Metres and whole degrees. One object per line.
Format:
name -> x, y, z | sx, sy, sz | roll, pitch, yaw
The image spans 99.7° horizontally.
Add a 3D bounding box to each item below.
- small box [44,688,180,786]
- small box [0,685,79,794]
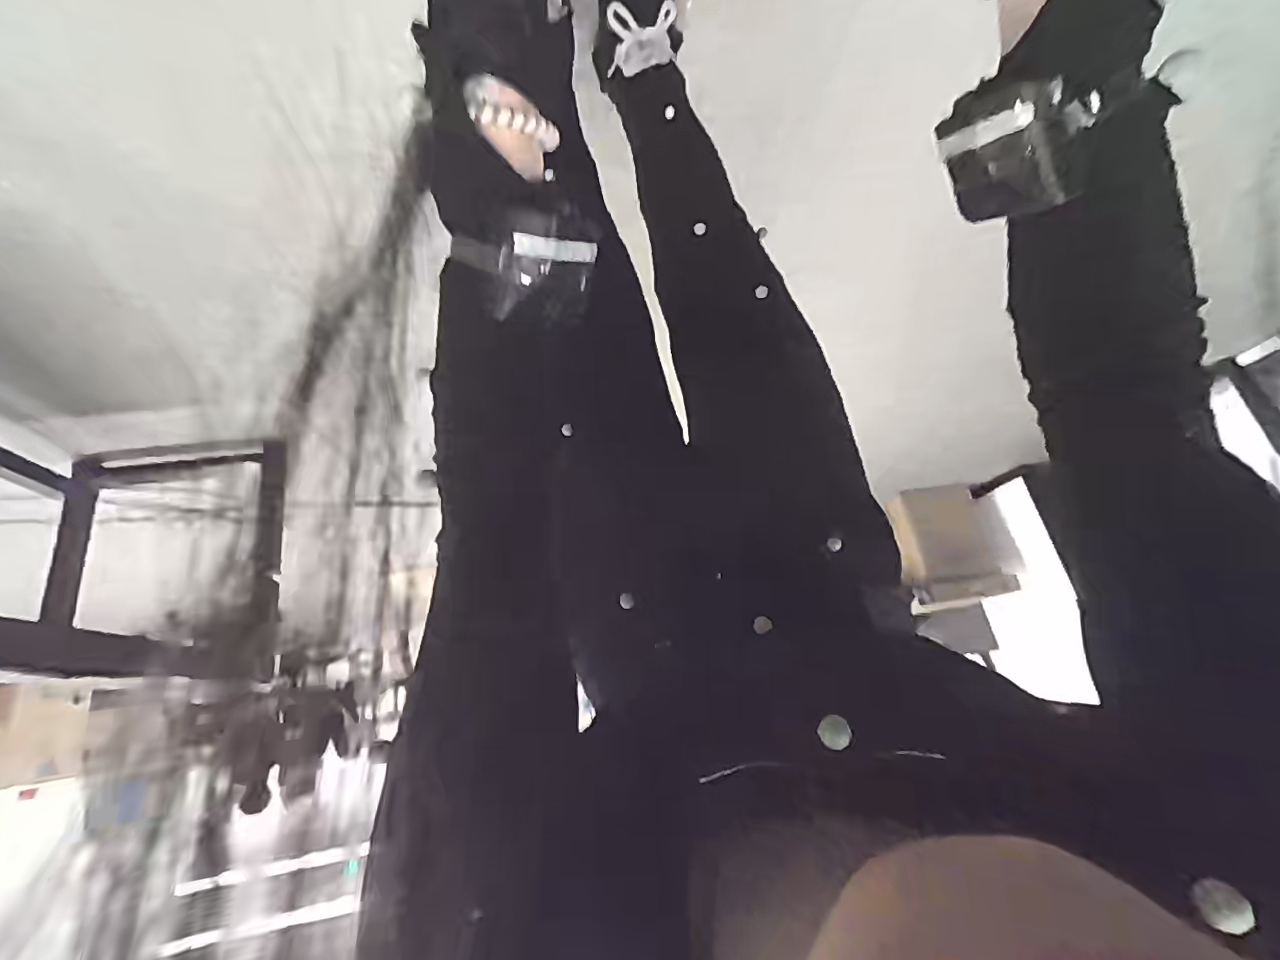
small box -> -1.180, 0.568, 1.204 | 0.179, 0.176, 0.168 | -6, 158, -9
small box -> -1.140, 0.458, 0.940 | 0.179, 0.176, 0.168 | -5, 158, -11
